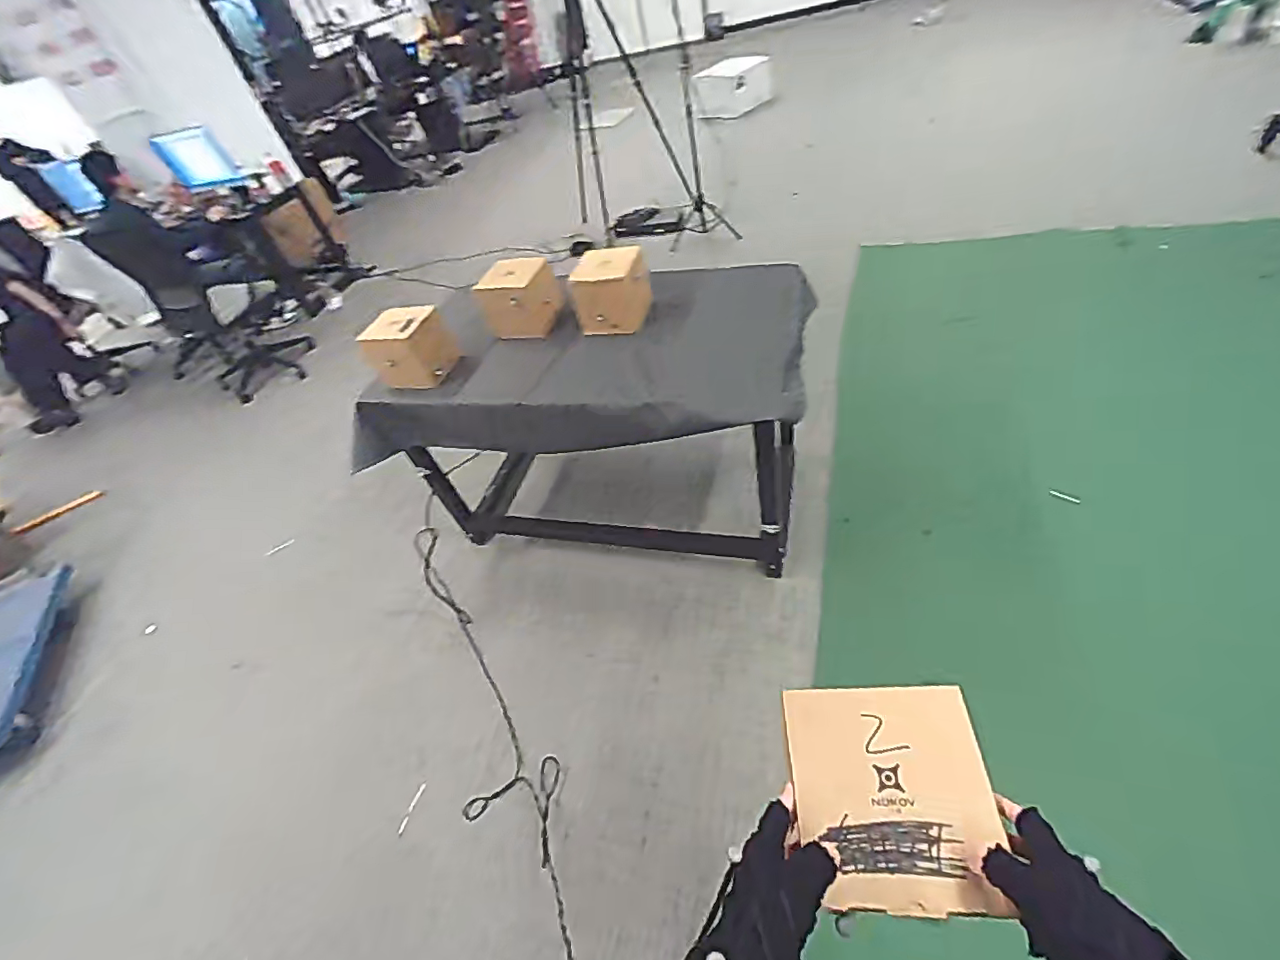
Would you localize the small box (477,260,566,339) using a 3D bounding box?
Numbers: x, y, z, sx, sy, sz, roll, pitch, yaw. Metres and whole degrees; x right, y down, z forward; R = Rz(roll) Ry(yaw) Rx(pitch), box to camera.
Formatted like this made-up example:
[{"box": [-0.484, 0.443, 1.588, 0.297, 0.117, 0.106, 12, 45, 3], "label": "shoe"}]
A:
[{"box": [-0.344, -0.535, 1.614, 0.179, 0.176, 0.168, 5, 50, 21], "label": "small box"}]

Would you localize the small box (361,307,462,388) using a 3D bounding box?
[{"box": [-0.645, -0.377, 1.554, 0.179, 0.176, 0.168, 4, 48, 20], "label": "small box"}]

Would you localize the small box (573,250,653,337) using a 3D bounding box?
[{"box": [-0.068, -0.526, 1.530, 0.168, 0.176, 0.179, 4, 49, 20], "label": "small box"}]
